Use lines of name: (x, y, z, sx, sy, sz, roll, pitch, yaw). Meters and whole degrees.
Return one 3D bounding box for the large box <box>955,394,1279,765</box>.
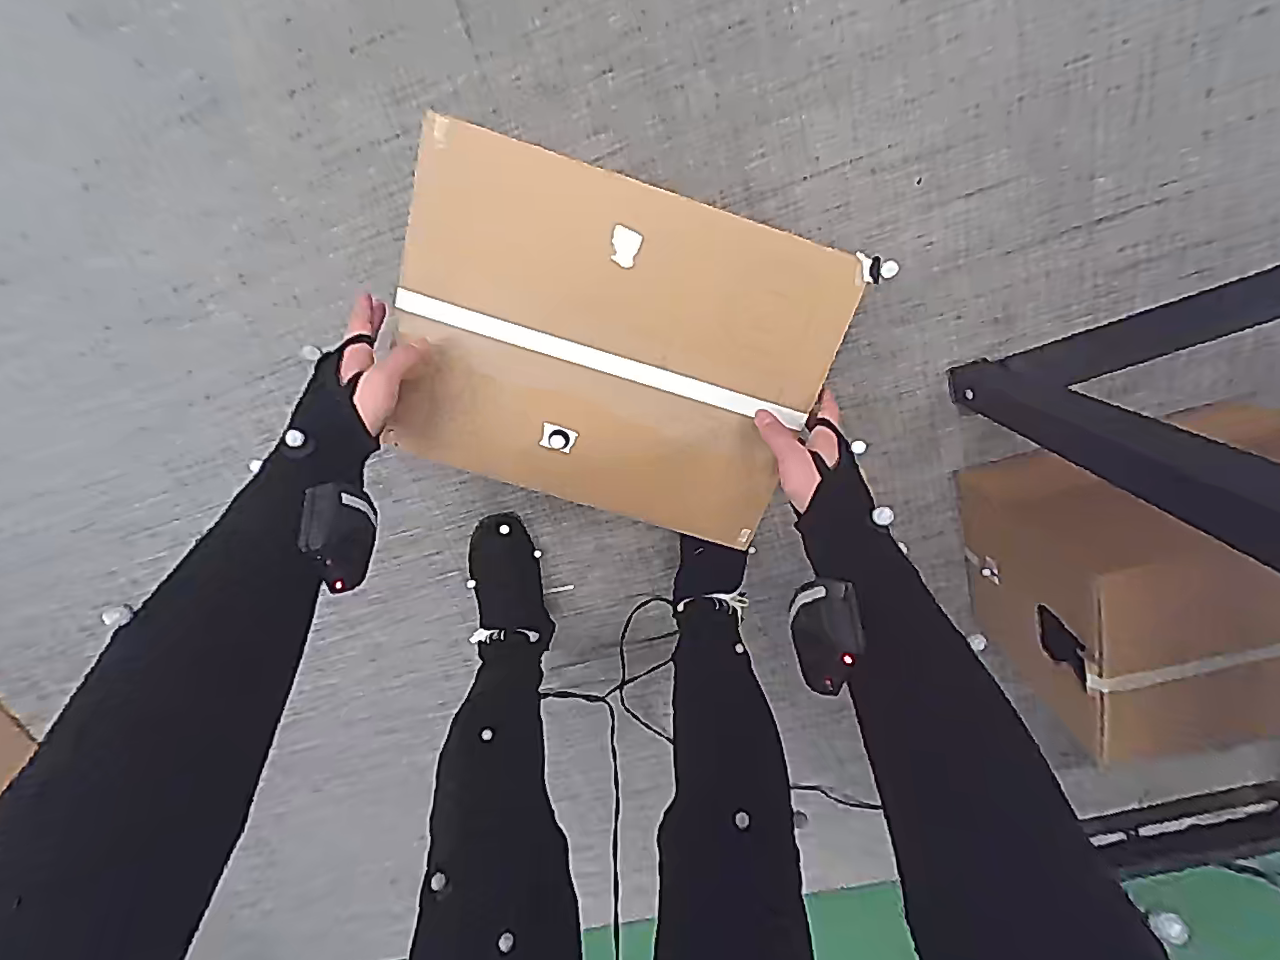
large box: (0.731, 0.115, 0.746, 0.408, 0.320, 0.320, -18, 112, 8)
